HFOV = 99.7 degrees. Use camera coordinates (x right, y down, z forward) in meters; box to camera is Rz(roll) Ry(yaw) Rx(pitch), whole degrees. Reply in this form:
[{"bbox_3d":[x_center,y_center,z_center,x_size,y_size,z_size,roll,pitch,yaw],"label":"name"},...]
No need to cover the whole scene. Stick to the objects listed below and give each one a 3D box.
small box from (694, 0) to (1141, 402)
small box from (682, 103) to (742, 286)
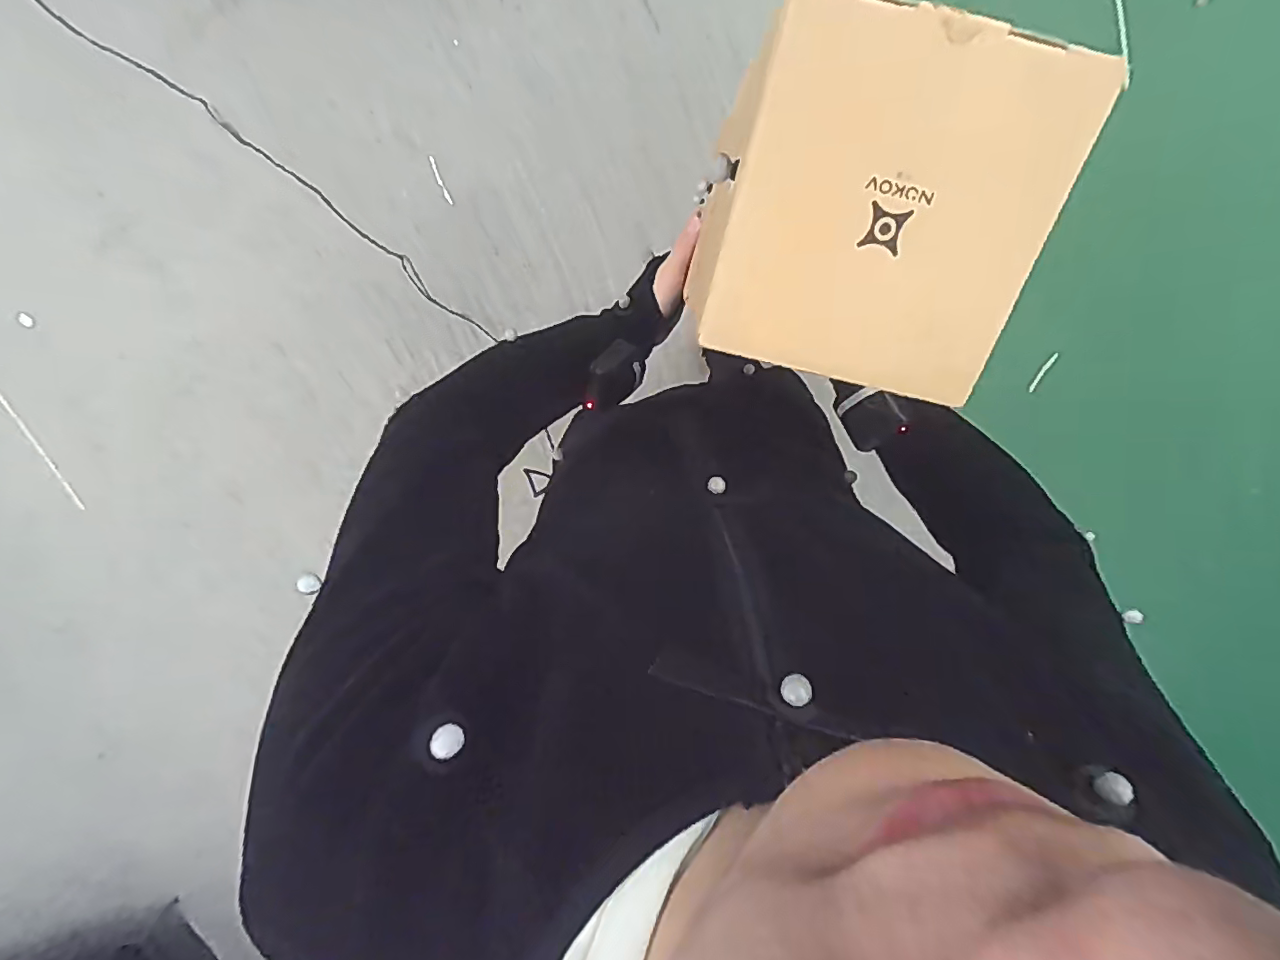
[{"bbox_3d":[0.135,-0.171,0.348,0.168,0.176,0.179,13,113,-2],"label":"small box"},{"bbox_3d":[0.148,-0.308,0.643,0.168,0.176,0.179,14,114,-3],"label":"small box"}]
